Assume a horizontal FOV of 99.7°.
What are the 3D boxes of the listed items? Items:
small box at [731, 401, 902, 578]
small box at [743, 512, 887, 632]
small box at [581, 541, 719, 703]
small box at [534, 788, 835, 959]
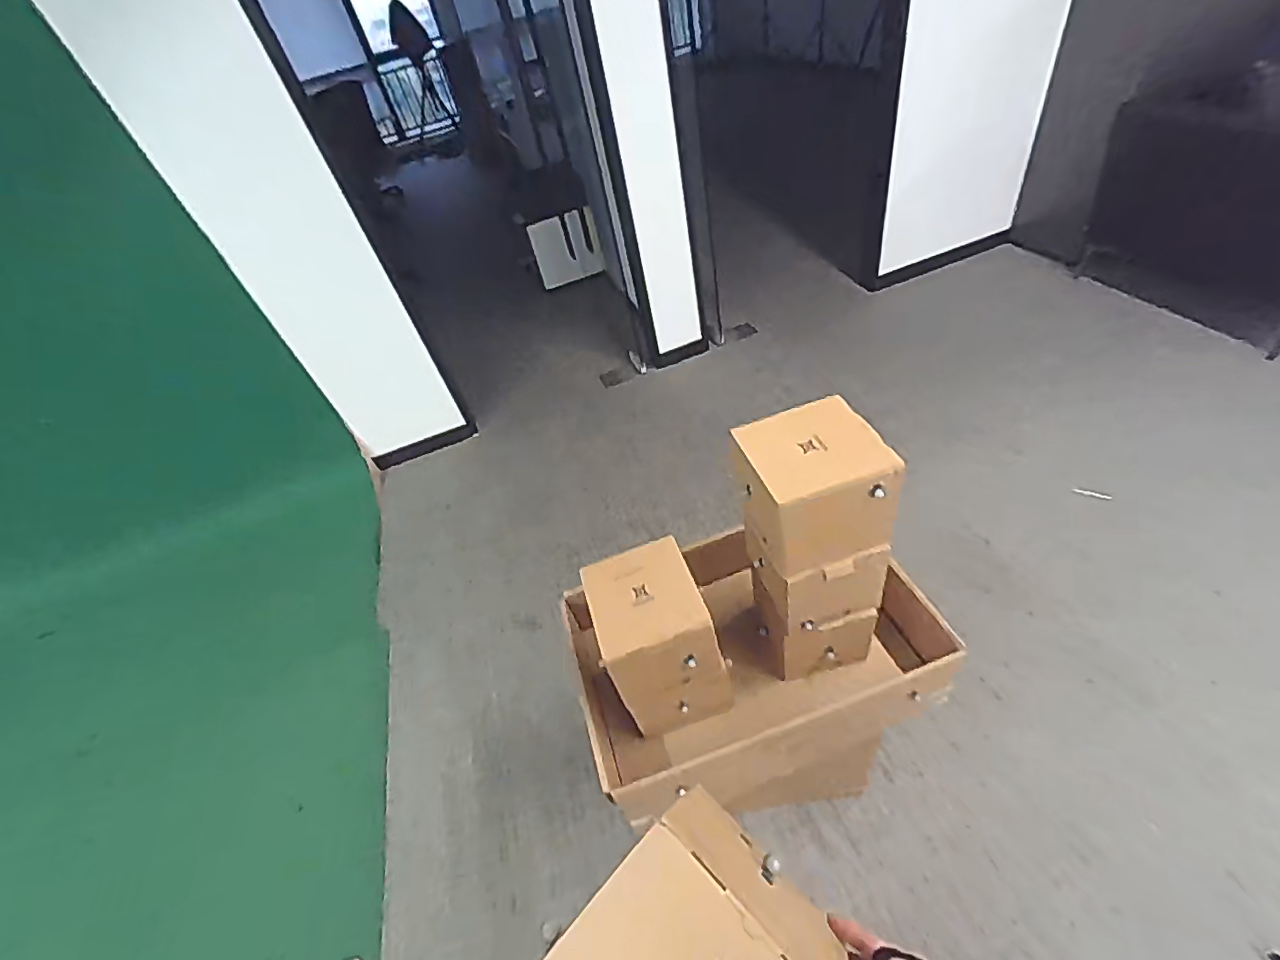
[{"bbox_3d":[0.249,0.018,0.793,0.179,0.176,0.168,-18,44,-4],"label":"small box"},{"bbox_3d":[0.285,0.131,0.905,0.168,0.176,0.179,-18,43,-3],"label":"small box"},{"bbox_3d":[0.019,0.235,0.872,0.168,0.176,0.179,-19,43,-5],"label":"small box"},{"bbox_3d":[0.034,0.372,0.408,0.168,0.176,0.179,39,82,25],"label":"small box"}]
